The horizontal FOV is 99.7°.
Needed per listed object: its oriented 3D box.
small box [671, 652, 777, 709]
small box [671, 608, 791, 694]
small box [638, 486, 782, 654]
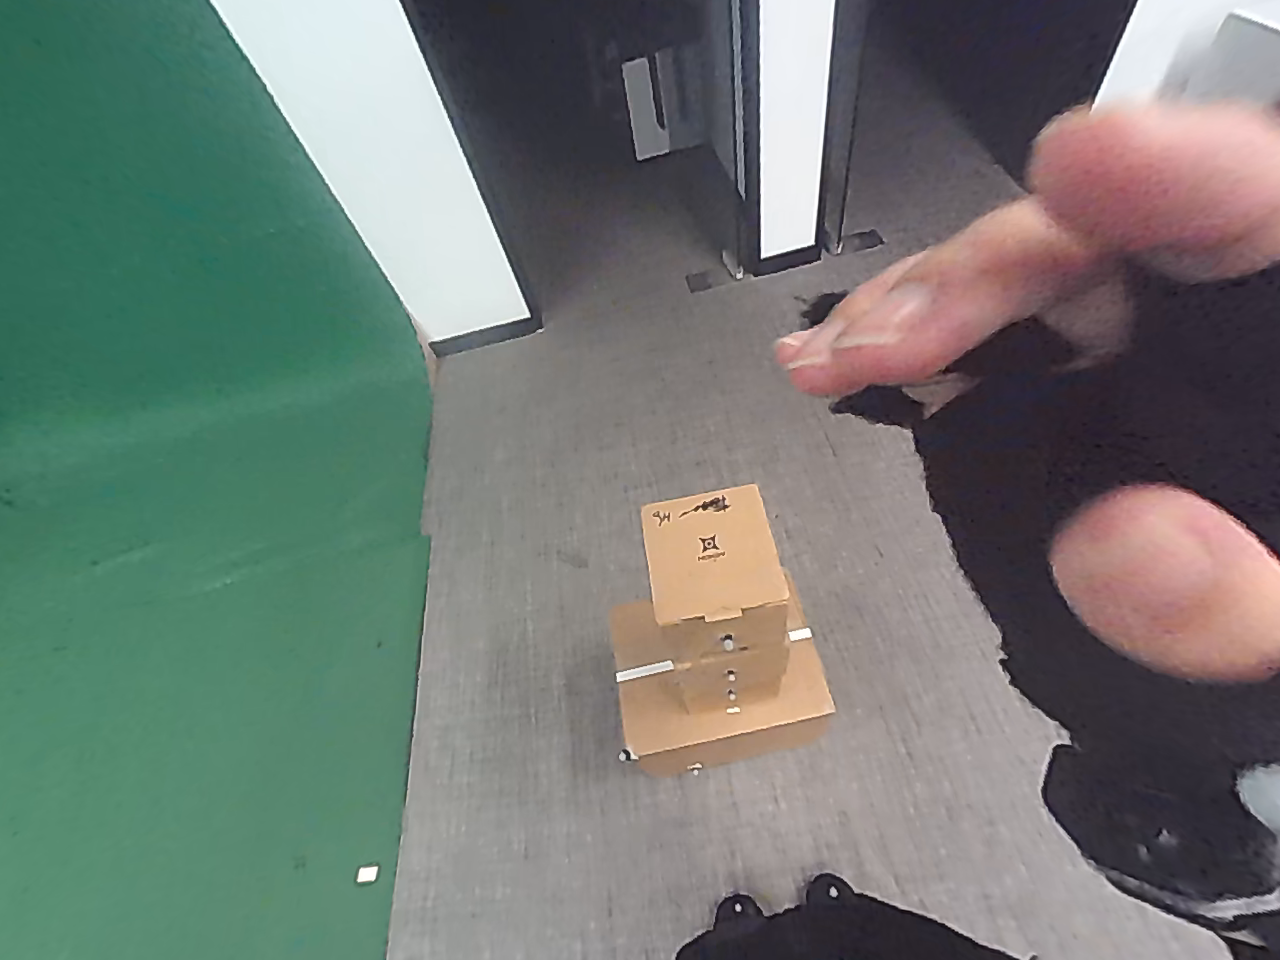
[{"bbox_3d":[0.152,0.323,1.026,0.179,0.176,0.168,-12,55,3],"label":"small box"},{"bbox_3d":[0.131,0.235,0.890,0.179,0.176,0.168,-15,55,1],"label":"small box"},{"bbox_3d":[0.100,0.136,0.763,0.168,0.176,0.179,-11,55,6],"label":"small box"}]
